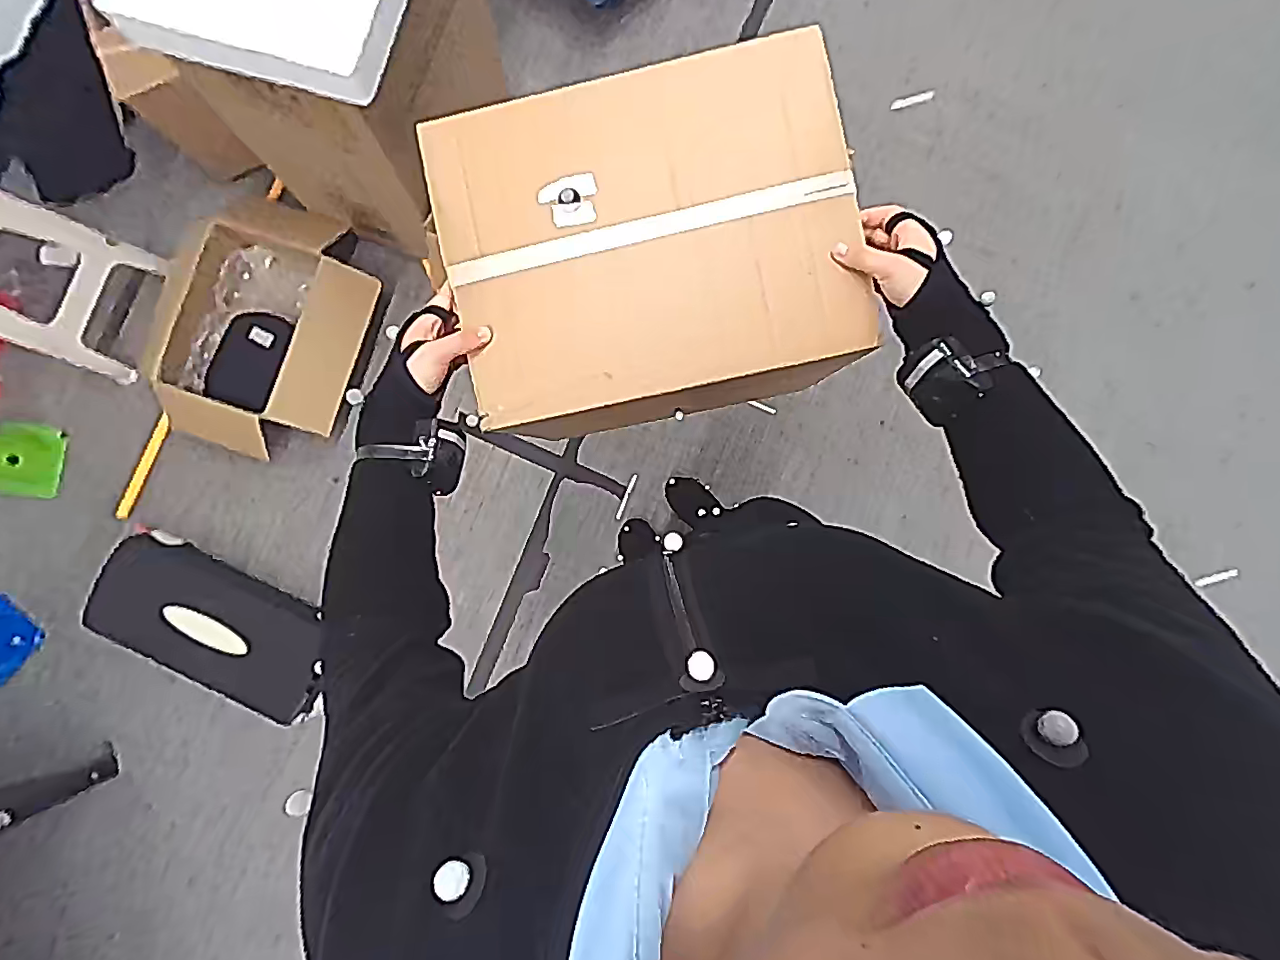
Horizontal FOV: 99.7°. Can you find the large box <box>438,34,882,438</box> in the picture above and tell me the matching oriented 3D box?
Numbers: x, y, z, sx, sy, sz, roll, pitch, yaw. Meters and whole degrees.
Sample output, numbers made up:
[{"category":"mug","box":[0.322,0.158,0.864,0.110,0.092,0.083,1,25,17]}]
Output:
[{"category":"large box","box":[0.027,-0.248,0.688,0.408,0.320,0.320,-11,90,5]}]
